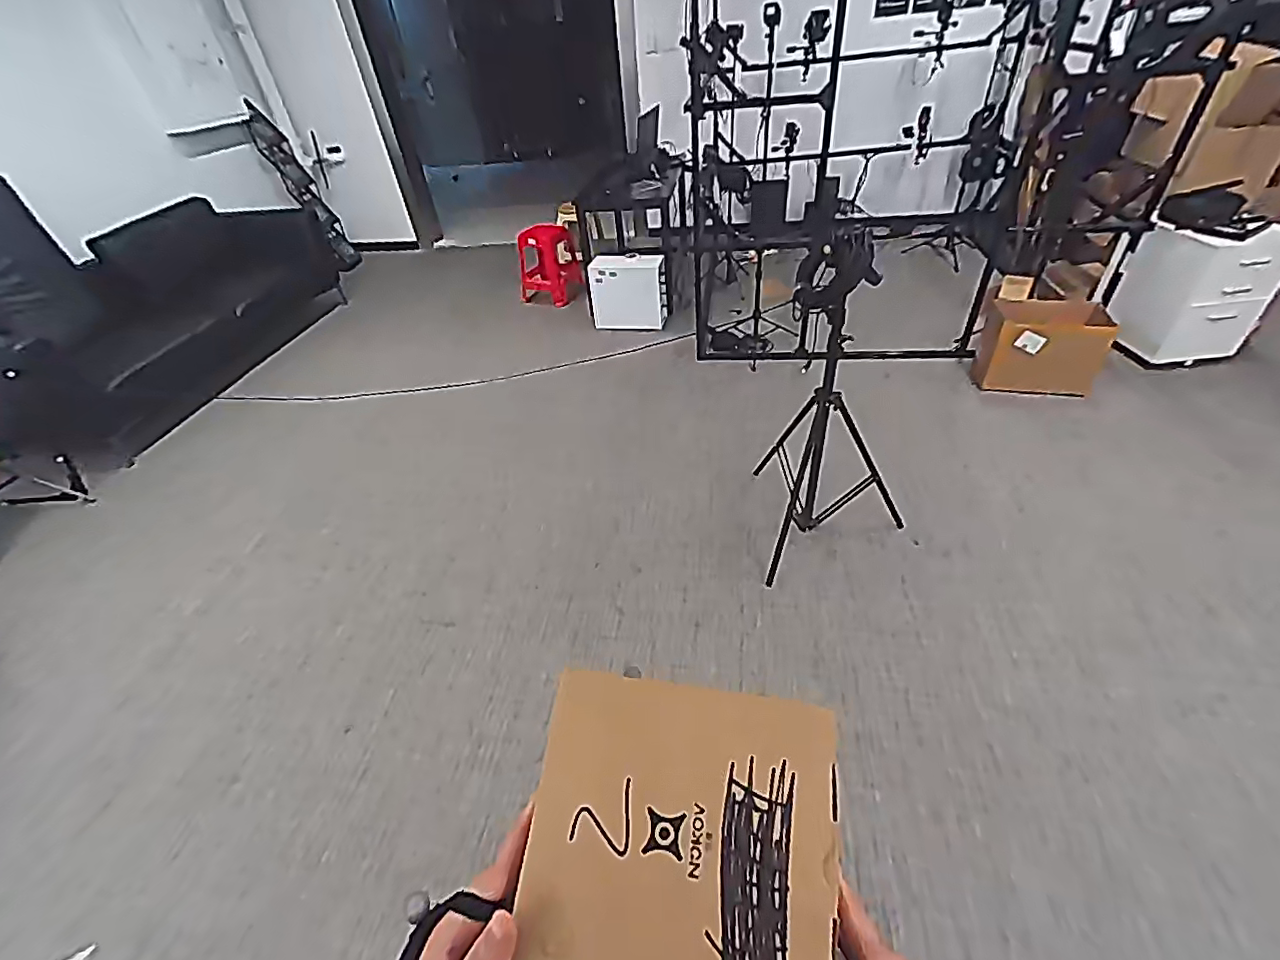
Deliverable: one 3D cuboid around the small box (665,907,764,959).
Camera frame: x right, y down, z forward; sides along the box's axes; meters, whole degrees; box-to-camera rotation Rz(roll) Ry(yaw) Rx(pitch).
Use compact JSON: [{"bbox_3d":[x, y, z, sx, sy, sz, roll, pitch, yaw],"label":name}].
[{"bbox_3d":[0.127,0.870,0.929,0.168,0.176,0.179,-1,41,8],"label":"small box"}]
